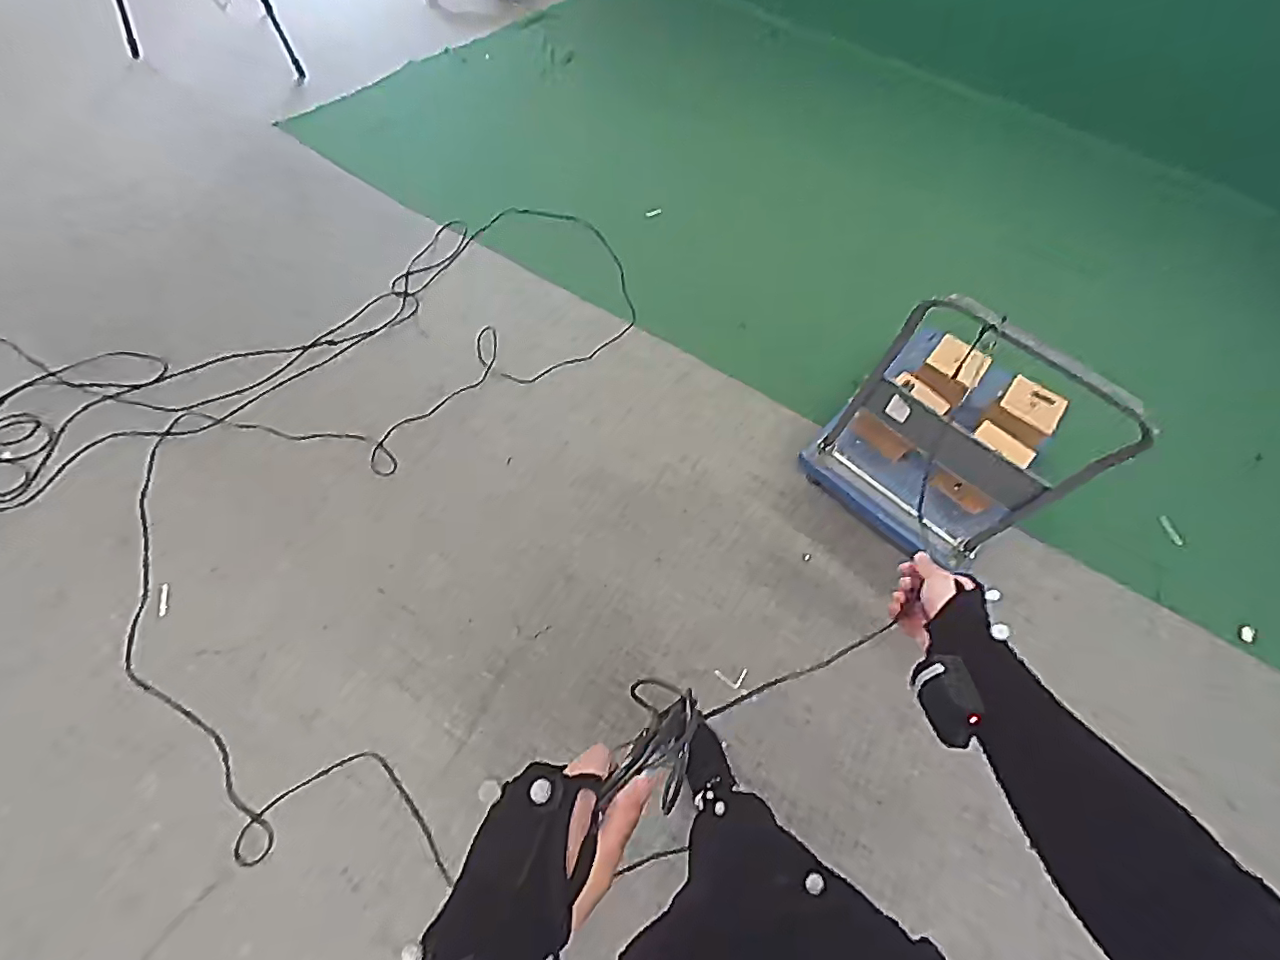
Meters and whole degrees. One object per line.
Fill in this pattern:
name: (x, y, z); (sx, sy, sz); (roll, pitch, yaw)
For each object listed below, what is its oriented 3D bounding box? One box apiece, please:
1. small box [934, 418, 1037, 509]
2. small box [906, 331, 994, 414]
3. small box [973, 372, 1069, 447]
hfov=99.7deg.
small box: (1.028, -0.046, 1.623); (0.168, 0.176, 0.179); (42, 64, 18)
small box: (1.023, -0.354, 1.802); (0.168, 0.176, 0.179); (38, 63, 15)
small box: (1.215, -0.206, 1.735); (0.168, 0.176, 0.179); (38, 64, 16)
